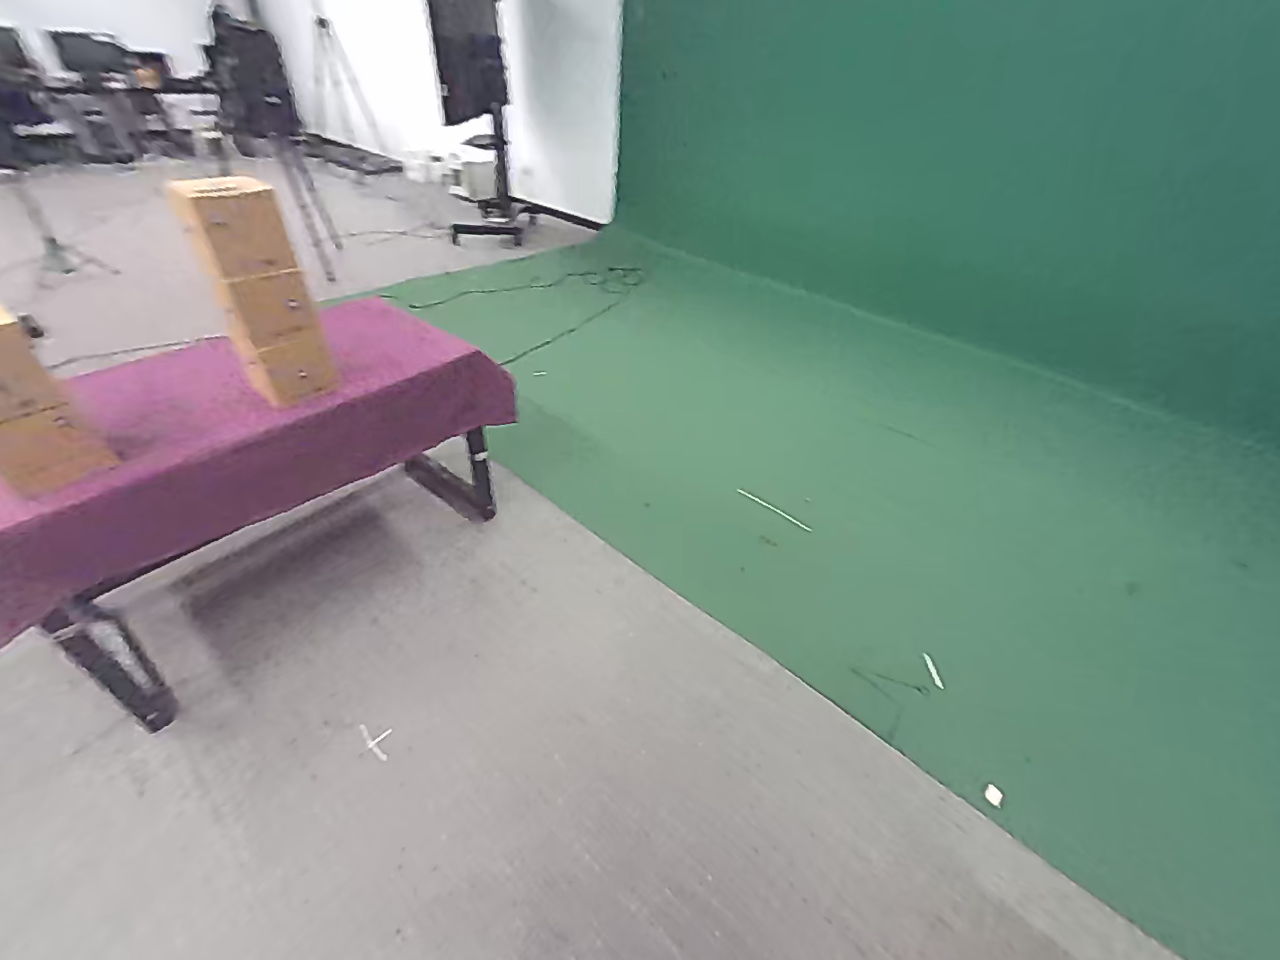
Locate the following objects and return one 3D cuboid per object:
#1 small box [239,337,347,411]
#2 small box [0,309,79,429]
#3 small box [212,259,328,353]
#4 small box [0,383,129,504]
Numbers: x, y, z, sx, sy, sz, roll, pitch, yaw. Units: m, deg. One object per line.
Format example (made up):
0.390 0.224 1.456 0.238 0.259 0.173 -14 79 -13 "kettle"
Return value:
-0.924 -0.303 1.452 0.179 0.176 0.168 30 45 29 "small box"
-1.246 -0.206 1.040 0.179 0.176 0.168 27 43 26 "small box"
-0.918 -0.433 1.353 0.179 0.176 0.168 31 46 31 "small box"
-1.250 -0.077 1.142 0.168 0.176 0.179 27 43 27 "small box"
